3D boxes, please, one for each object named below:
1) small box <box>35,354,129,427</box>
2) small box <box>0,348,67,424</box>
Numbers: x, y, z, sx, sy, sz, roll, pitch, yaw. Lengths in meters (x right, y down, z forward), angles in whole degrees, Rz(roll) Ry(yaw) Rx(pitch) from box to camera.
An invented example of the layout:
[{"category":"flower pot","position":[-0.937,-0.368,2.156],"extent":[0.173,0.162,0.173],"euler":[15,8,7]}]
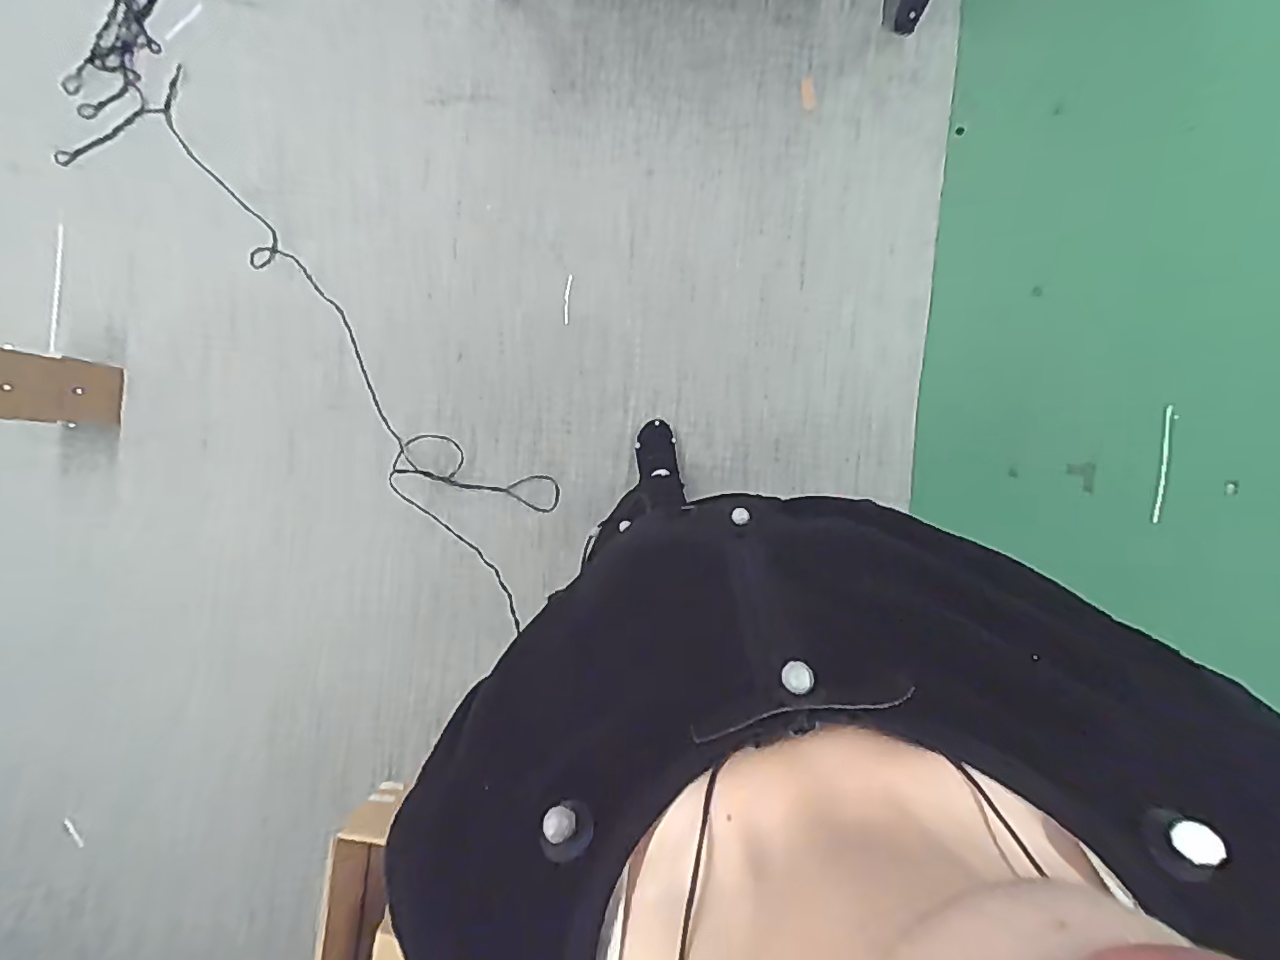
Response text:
[{"category":"small box","position":[-1.596,-0.247,1.519],"extent":[0.168,0.176,0.179],"euler":[5,89,3]},{"category":"small box","position":[-1.606,-0.238,1.355],"extent":[0.168,0.176,0.179],"euler":[5,89,2]}]
